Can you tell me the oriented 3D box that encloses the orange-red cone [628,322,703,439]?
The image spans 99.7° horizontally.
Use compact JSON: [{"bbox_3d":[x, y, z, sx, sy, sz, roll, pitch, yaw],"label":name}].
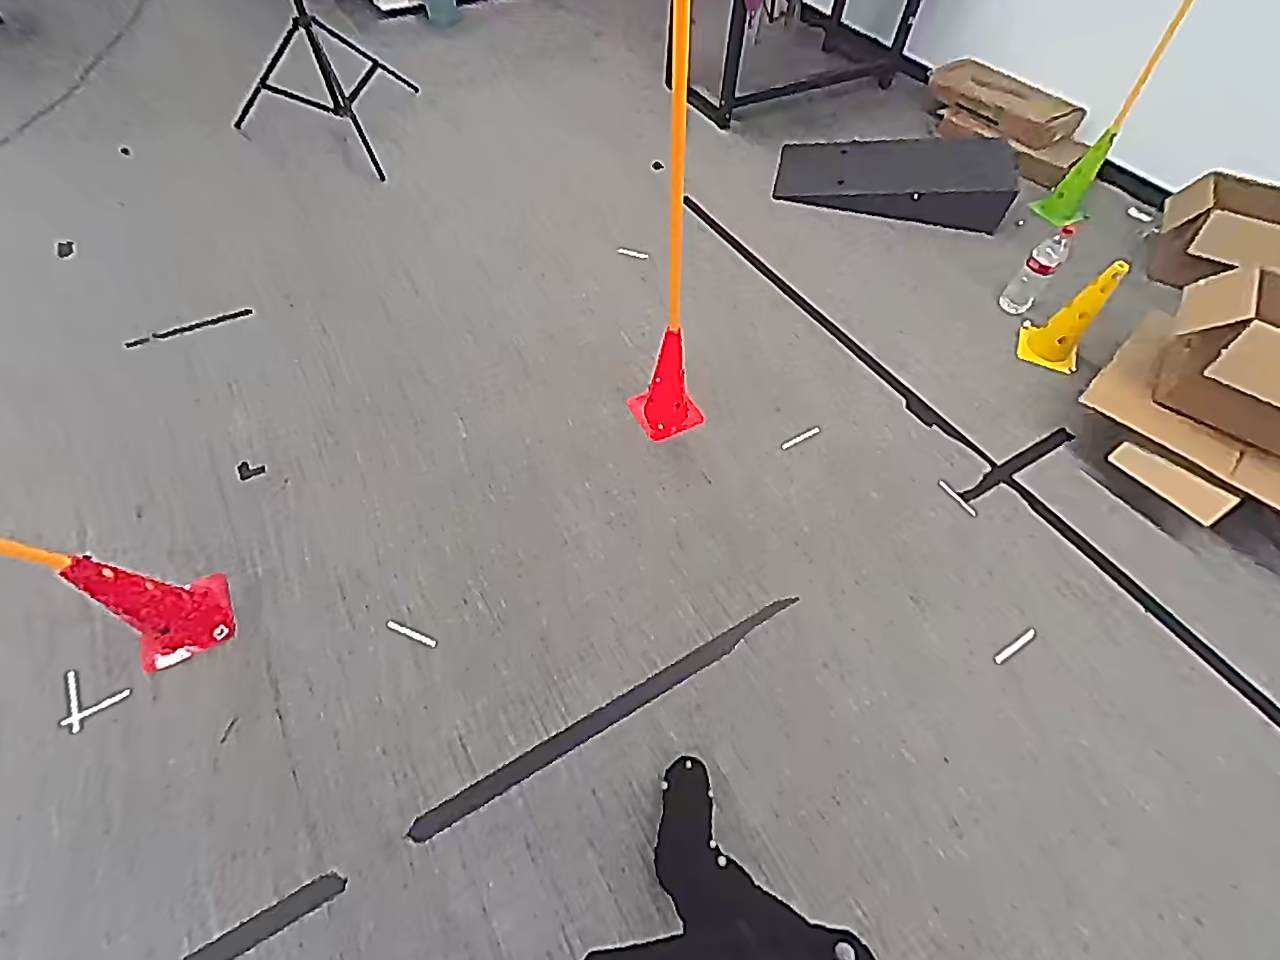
[{"bbox_3d":[0.087,-0.323,1.615,0.199,0.360,0.198,-23,61,-16],"label":"orange-red cone"}]
